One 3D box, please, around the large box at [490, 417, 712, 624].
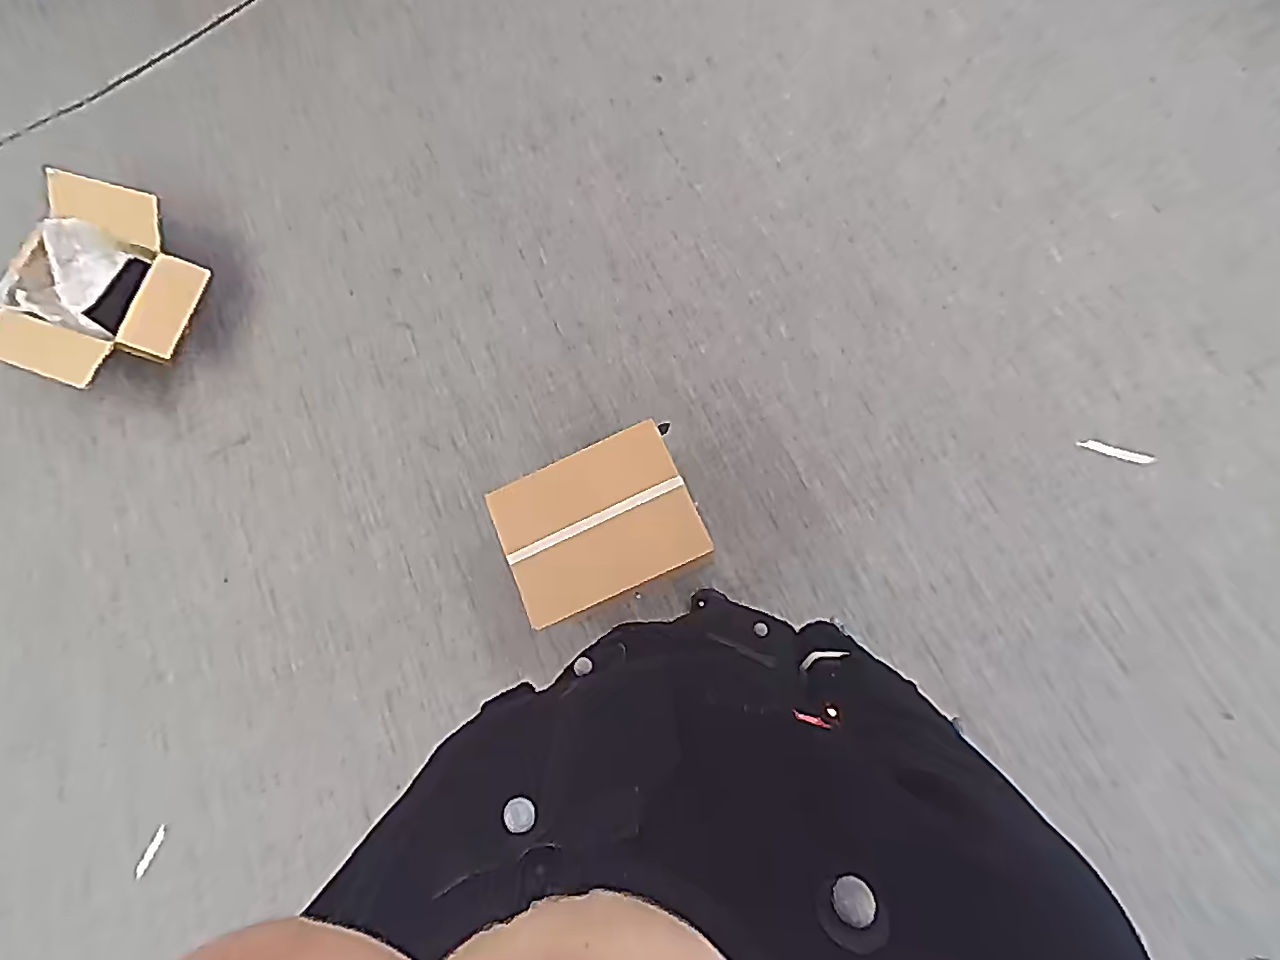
[{"bbox_3d":[-0.073,0.112,1.281,0.408,0.320,0.320,-25,77,2],"label":"large box"}]
